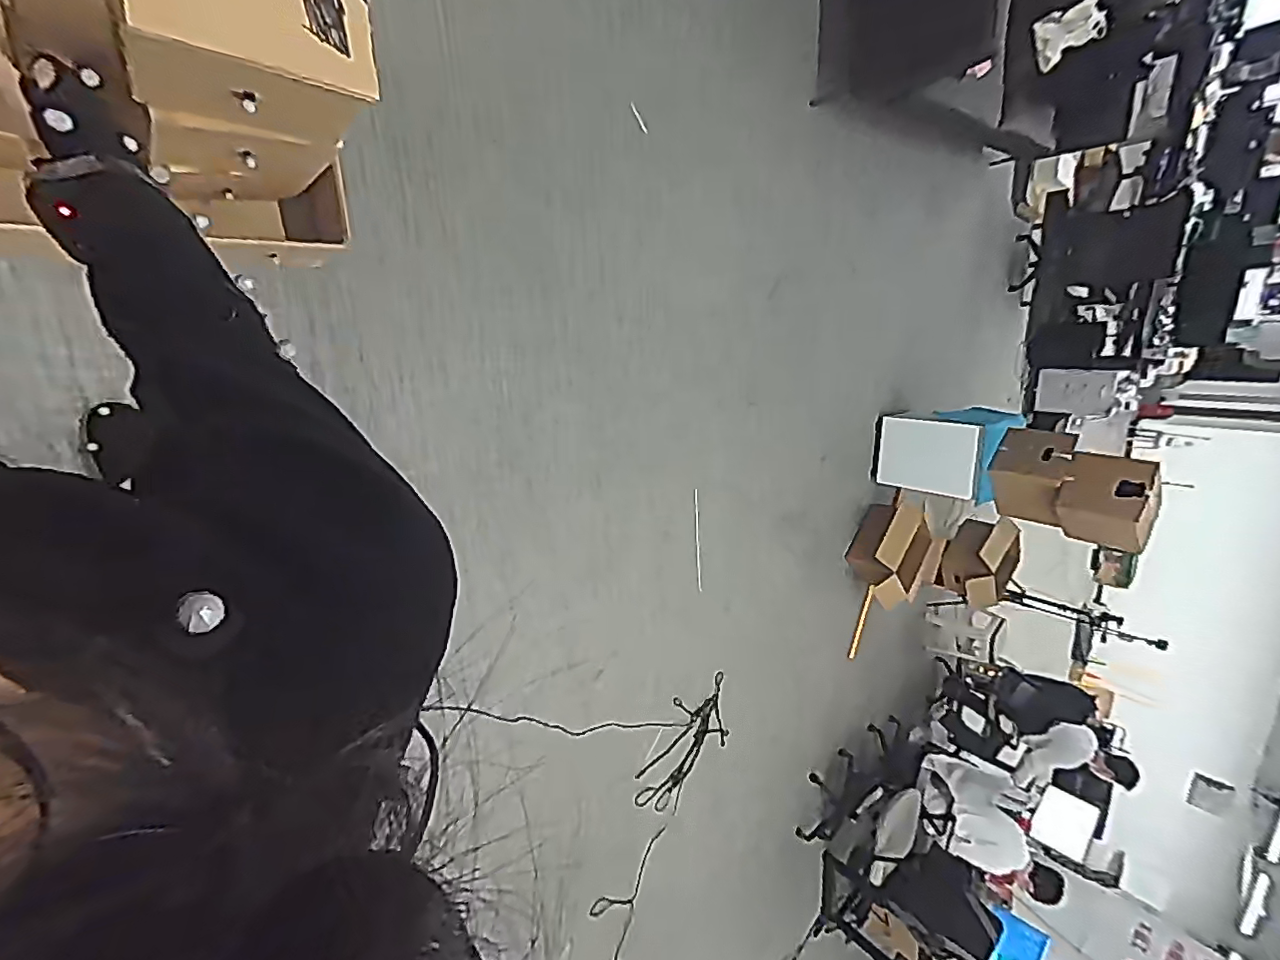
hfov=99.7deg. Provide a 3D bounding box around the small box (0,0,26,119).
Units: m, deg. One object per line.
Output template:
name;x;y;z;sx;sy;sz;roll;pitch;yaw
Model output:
small box;-0.649;-0.431;0.446;0.179;0.176;0.168;-8;104;-44

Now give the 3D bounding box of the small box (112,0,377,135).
small box;-0.357;-0.435;0.483;0.179;0.176;0.168;-10;107;-39
